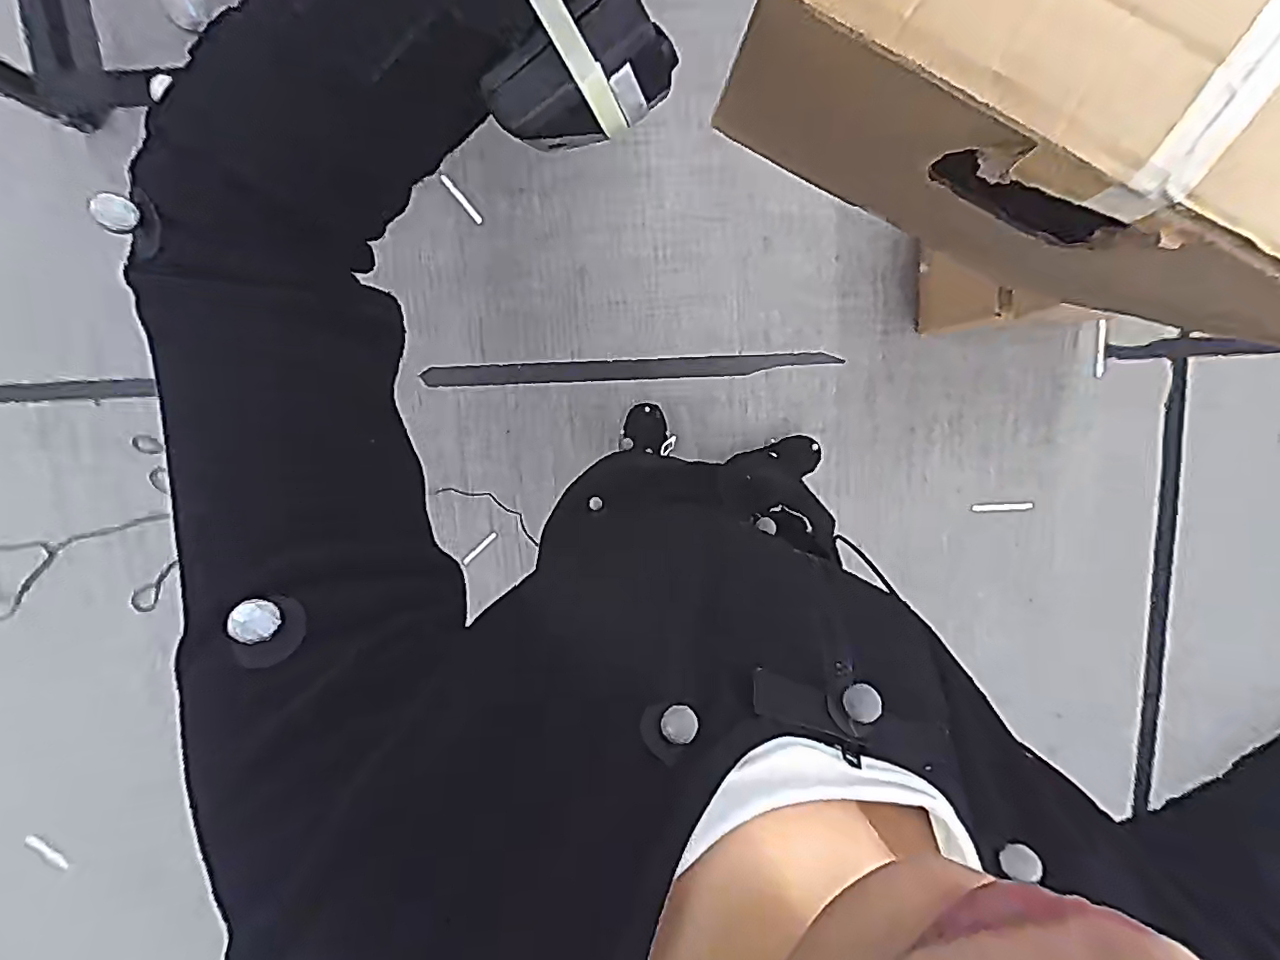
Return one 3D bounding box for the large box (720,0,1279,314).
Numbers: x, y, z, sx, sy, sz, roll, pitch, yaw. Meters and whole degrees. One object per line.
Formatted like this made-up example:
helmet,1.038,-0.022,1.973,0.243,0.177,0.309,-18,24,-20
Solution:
large box,0.269,-0.341,0.249,0.320,0.320,0.408,23,115,-6
